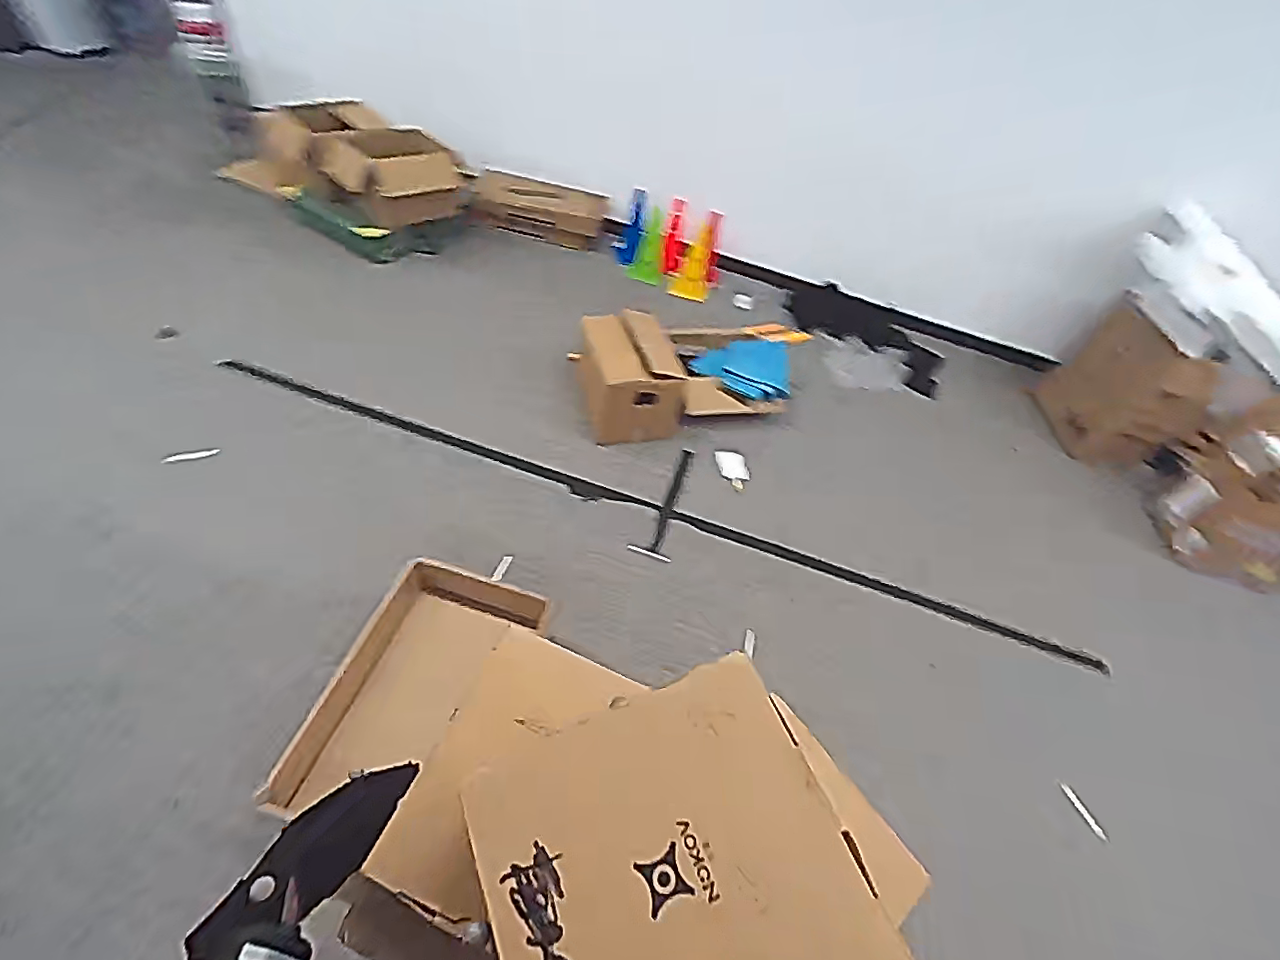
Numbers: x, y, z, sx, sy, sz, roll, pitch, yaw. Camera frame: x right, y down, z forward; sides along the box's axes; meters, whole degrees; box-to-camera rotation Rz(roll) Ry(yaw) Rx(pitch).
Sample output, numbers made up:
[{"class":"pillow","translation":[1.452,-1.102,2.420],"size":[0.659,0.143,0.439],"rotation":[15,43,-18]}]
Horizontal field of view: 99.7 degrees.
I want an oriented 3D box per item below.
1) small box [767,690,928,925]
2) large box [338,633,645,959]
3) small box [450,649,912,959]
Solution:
[{"class":"small box","translation":[0.094,0.324,0.472],"size":[0.168,0.176,0.179],"rotation":[-30,66,-28]},{"class":"large box","translation":[-0.058,0.445,0.660],"size":[0.408,0.320,0.320],"rotation":[22,55,3]},{"class":"small box","translation":[0.004,0.229,0.319],"size":[0.179,0.176,0.168],"rotation":[-18,60,-21]}]
